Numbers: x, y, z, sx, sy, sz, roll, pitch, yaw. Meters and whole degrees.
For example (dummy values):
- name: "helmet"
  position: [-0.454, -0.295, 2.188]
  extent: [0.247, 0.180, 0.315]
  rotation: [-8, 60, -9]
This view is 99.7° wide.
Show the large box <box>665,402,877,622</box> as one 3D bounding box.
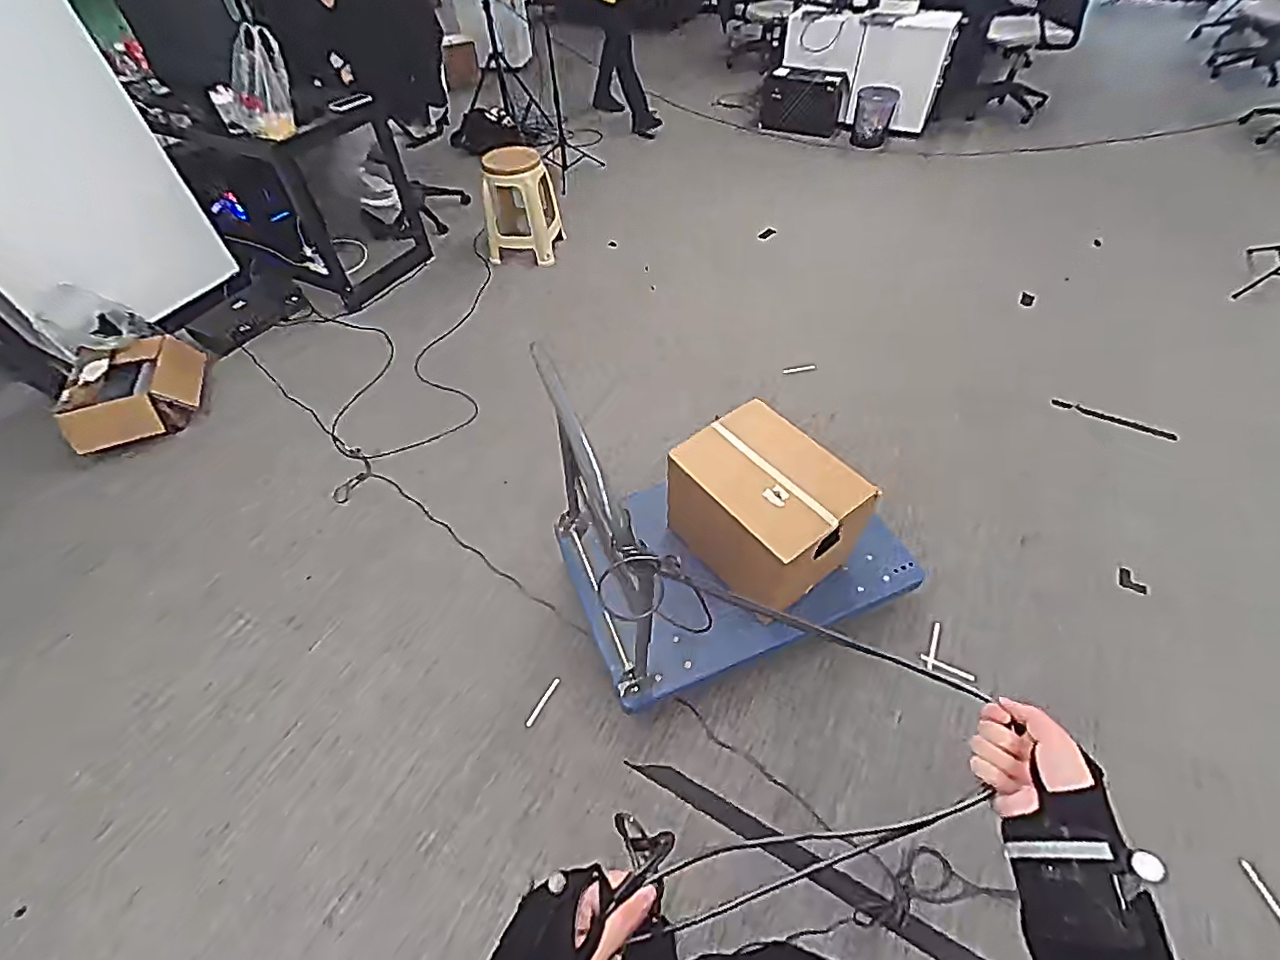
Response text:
- name: "large box"
  position: [0.305, 0.076, 1.392]
  extent: [0.320, 0.320, 0.408]
  rotation: [-32, 58, -20]
